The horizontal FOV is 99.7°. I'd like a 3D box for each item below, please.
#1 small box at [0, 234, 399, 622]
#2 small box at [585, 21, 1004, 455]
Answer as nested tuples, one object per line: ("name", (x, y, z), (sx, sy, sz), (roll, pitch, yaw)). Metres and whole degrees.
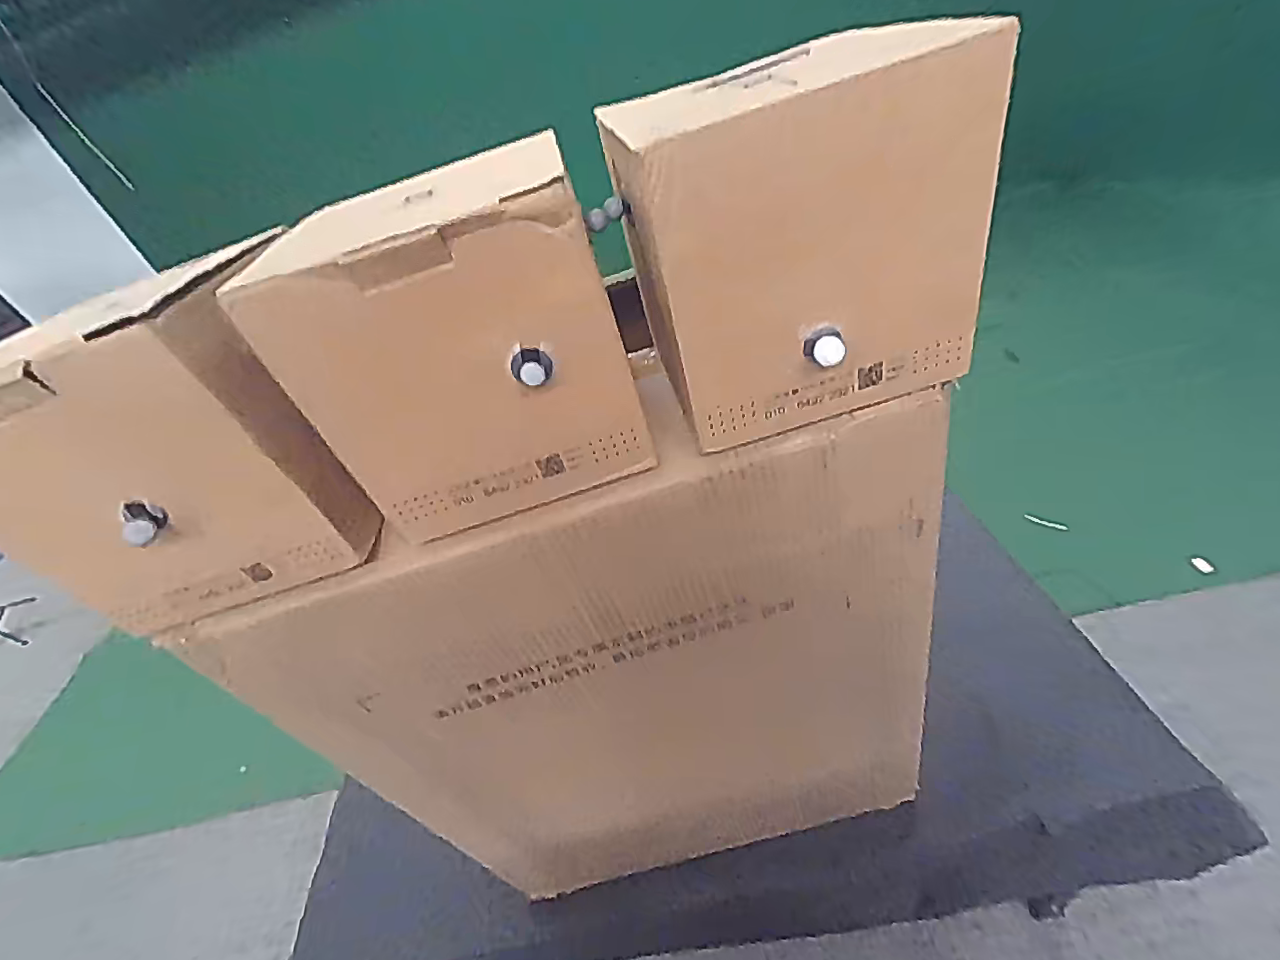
("small box", (-0.288, -0.029, 0.356), (0.168, 0.176, 0.179), (-18, 39, 5))
("small box", (0.073, -0.143, 0.328), (0.168, 0.176, 0.179), (-17, 39, 3))
